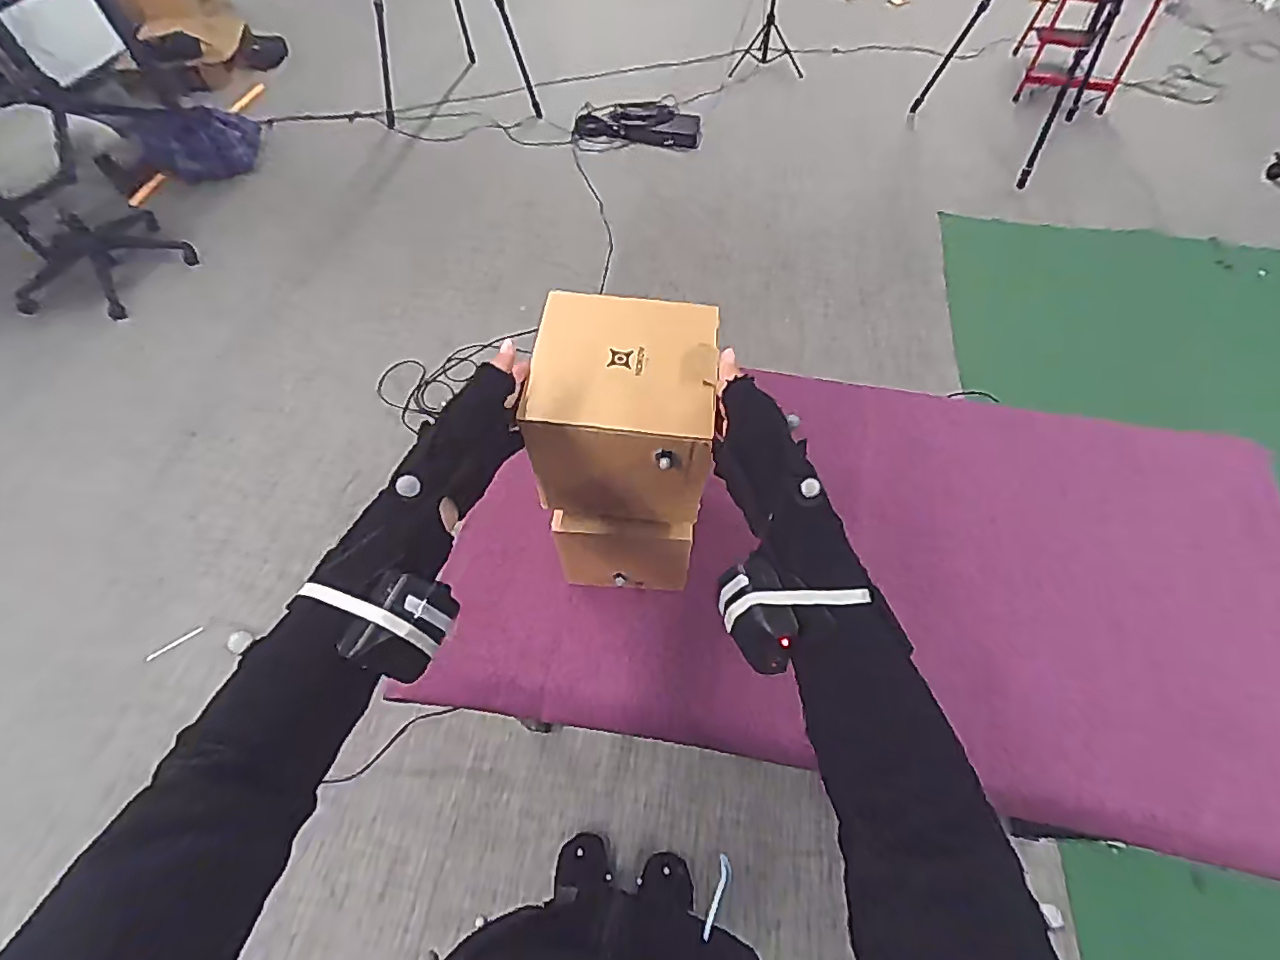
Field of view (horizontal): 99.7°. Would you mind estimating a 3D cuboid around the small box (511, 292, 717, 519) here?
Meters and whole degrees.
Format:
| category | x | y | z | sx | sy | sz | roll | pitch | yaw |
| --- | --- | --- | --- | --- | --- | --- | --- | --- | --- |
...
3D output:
| category | x | y | z | sx | sy | sz | roll | pitch | yaw |
| --- | --- | --- | --- | --- | --- | --- | --- | --- | --- |
| small box | -0.019 | -0.071 | 0.570 | 0.179 | 0.176 | 0.168 | 6 | 59 | 1 |
